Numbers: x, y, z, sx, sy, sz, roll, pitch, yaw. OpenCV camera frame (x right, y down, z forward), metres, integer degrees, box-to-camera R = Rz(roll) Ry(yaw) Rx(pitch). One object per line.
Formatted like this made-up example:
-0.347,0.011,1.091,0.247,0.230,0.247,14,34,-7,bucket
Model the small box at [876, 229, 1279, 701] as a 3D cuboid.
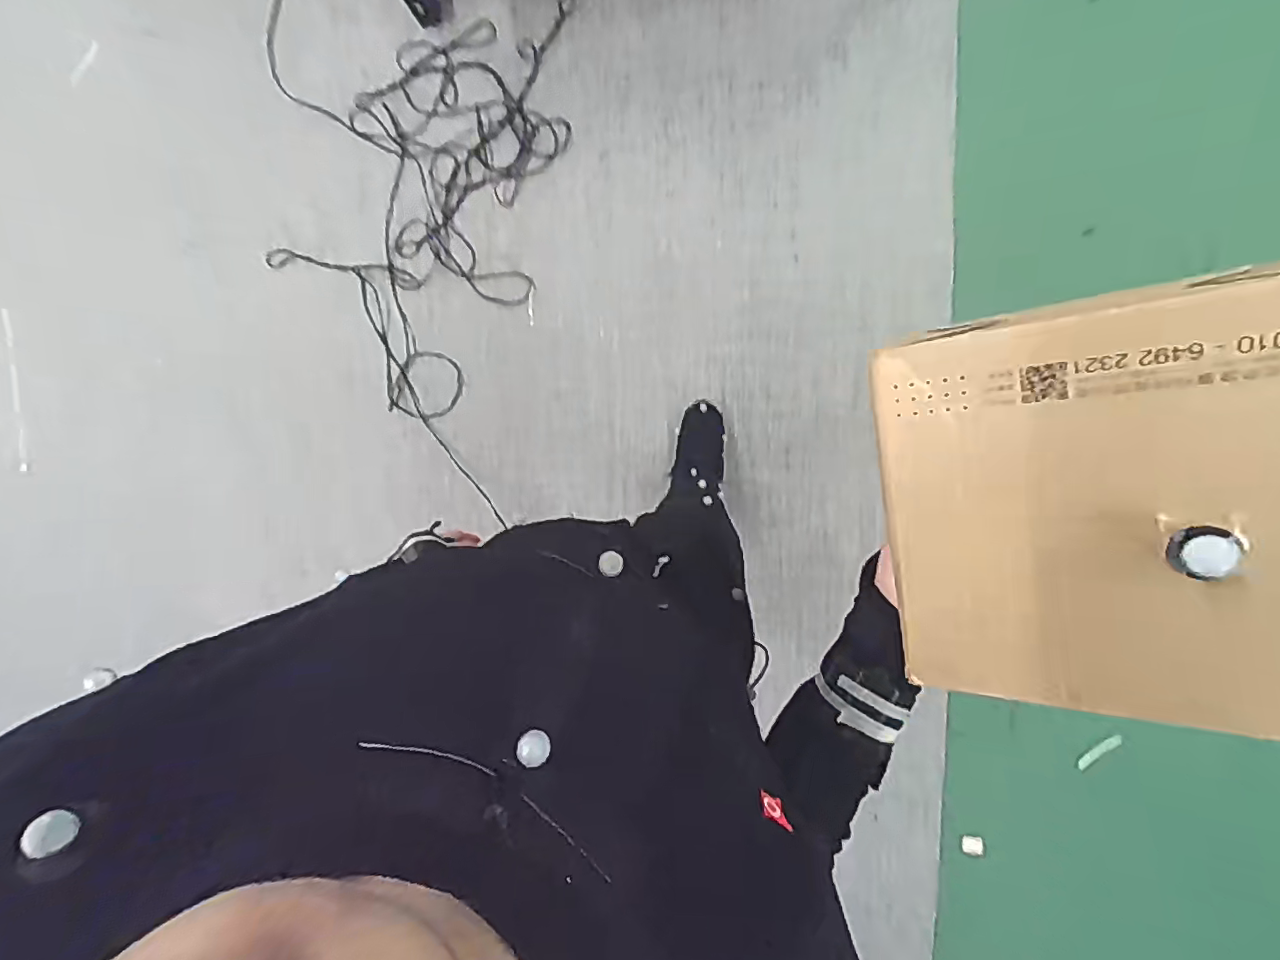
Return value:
0.228,-0.018,0.269,0.168,0.179,0.176,-5,103,36,small box
